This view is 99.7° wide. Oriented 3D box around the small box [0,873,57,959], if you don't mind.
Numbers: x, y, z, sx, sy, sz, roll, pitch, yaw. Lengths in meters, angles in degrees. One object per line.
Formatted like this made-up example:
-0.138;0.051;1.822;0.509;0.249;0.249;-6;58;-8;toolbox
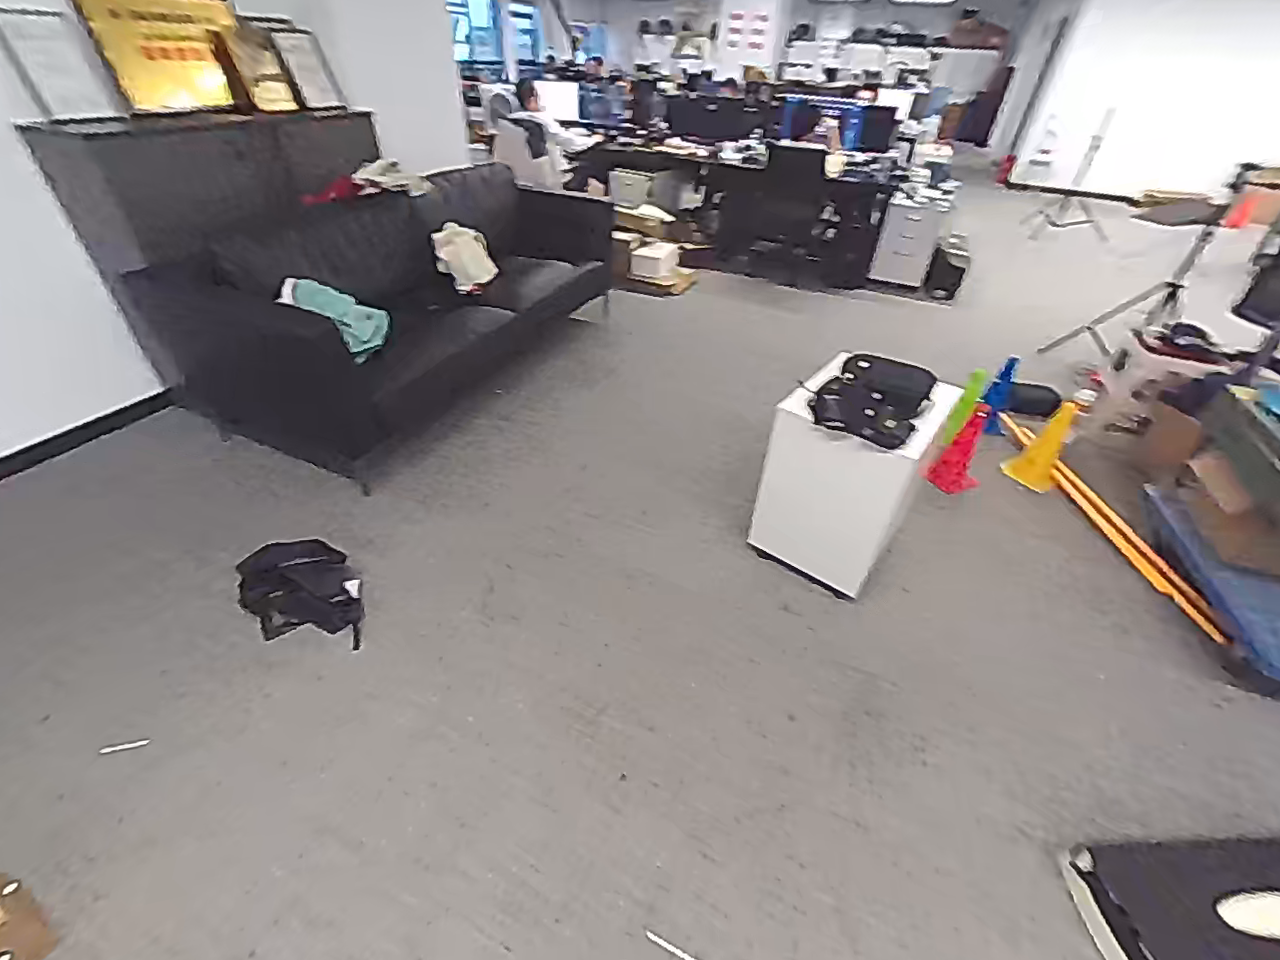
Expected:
-1.221;0.834;0.969;0.179;0.176;0.168;22;40;23;small box
